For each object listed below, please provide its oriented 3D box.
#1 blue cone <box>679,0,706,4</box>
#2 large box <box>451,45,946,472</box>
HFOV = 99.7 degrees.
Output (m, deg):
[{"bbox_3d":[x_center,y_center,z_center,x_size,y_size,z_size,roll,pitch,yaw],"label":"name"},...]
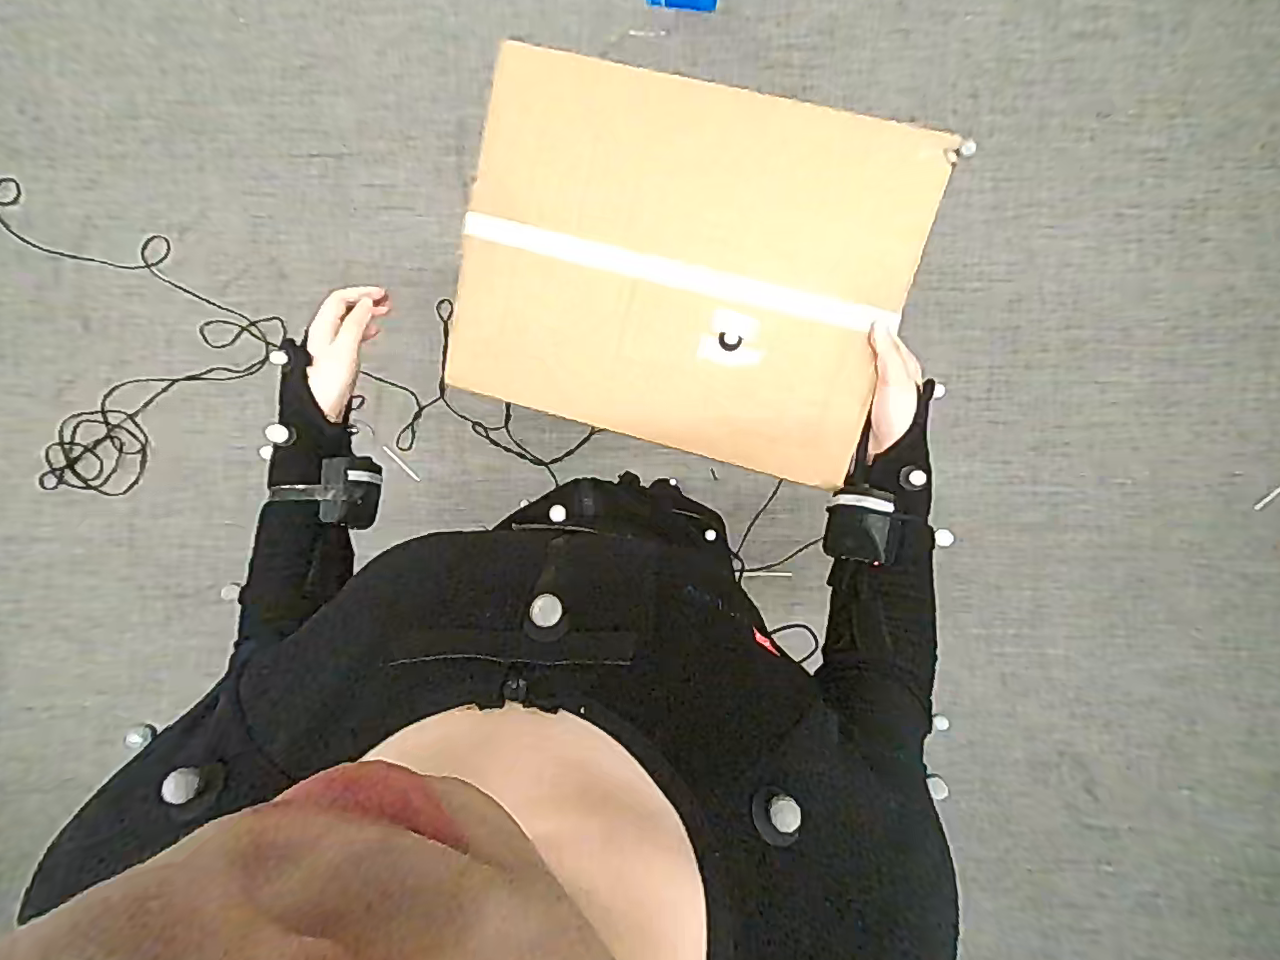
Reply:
[{"bbox_3d":[0.115,-1.433,1.348,0.193,0.380,0.192,9,89,1],"label":"blue cone"},{"bbox_3d":[0.048,-0.224,0.641,0.408,0.320,0.320,14,103,3],"label":"large box"}]
